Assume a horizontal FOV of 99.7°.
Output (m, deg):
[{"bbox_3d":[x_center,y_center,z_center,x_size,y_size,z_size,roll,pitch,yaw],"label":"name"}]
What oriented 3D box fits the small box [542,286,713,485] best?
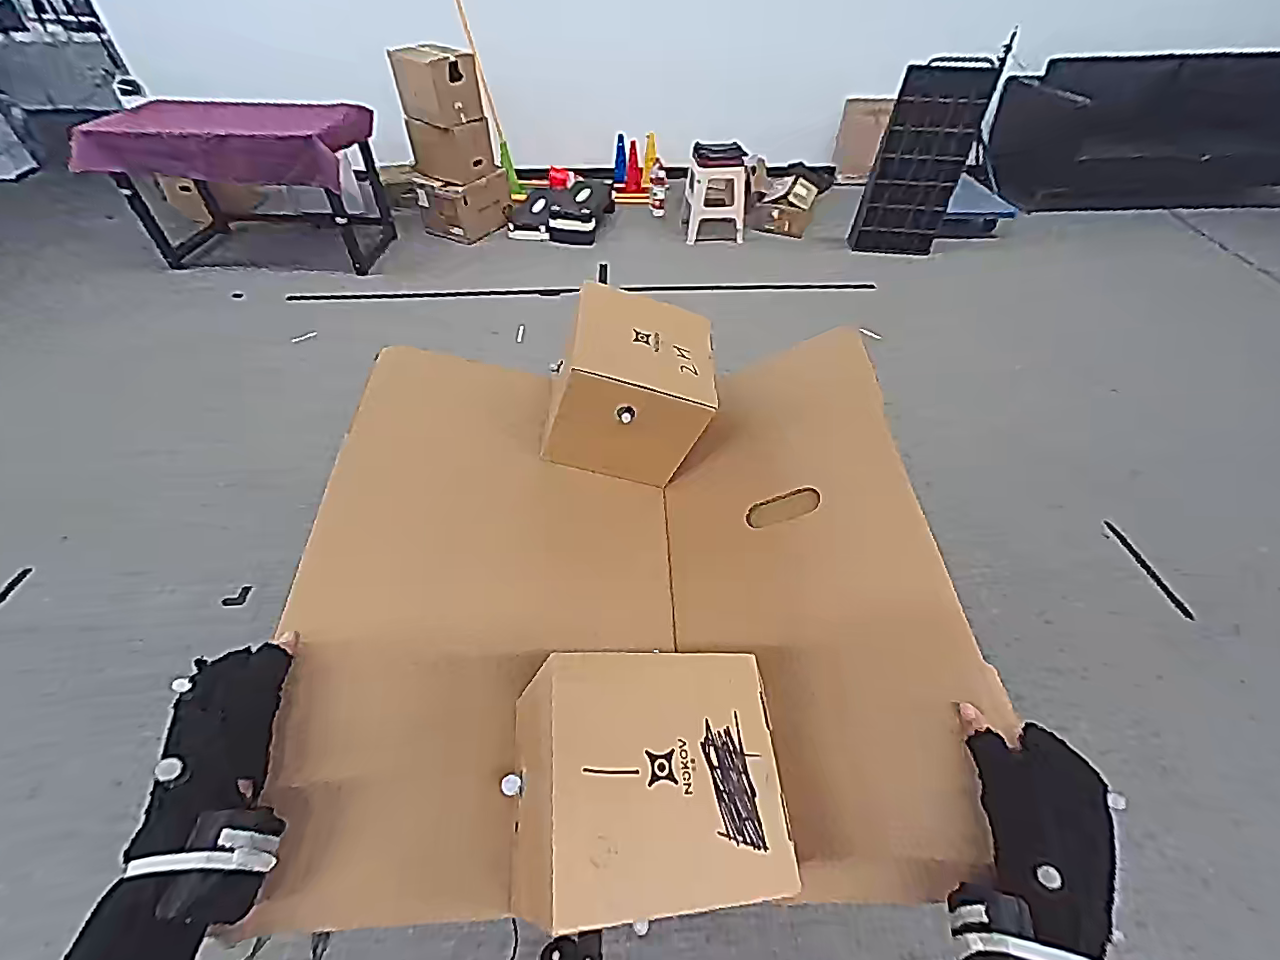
[{"bbox_3d":[-0.021,-0.114,0.707,0.179,0.176,0.168,14,52,-15],"label":"small box"}]
